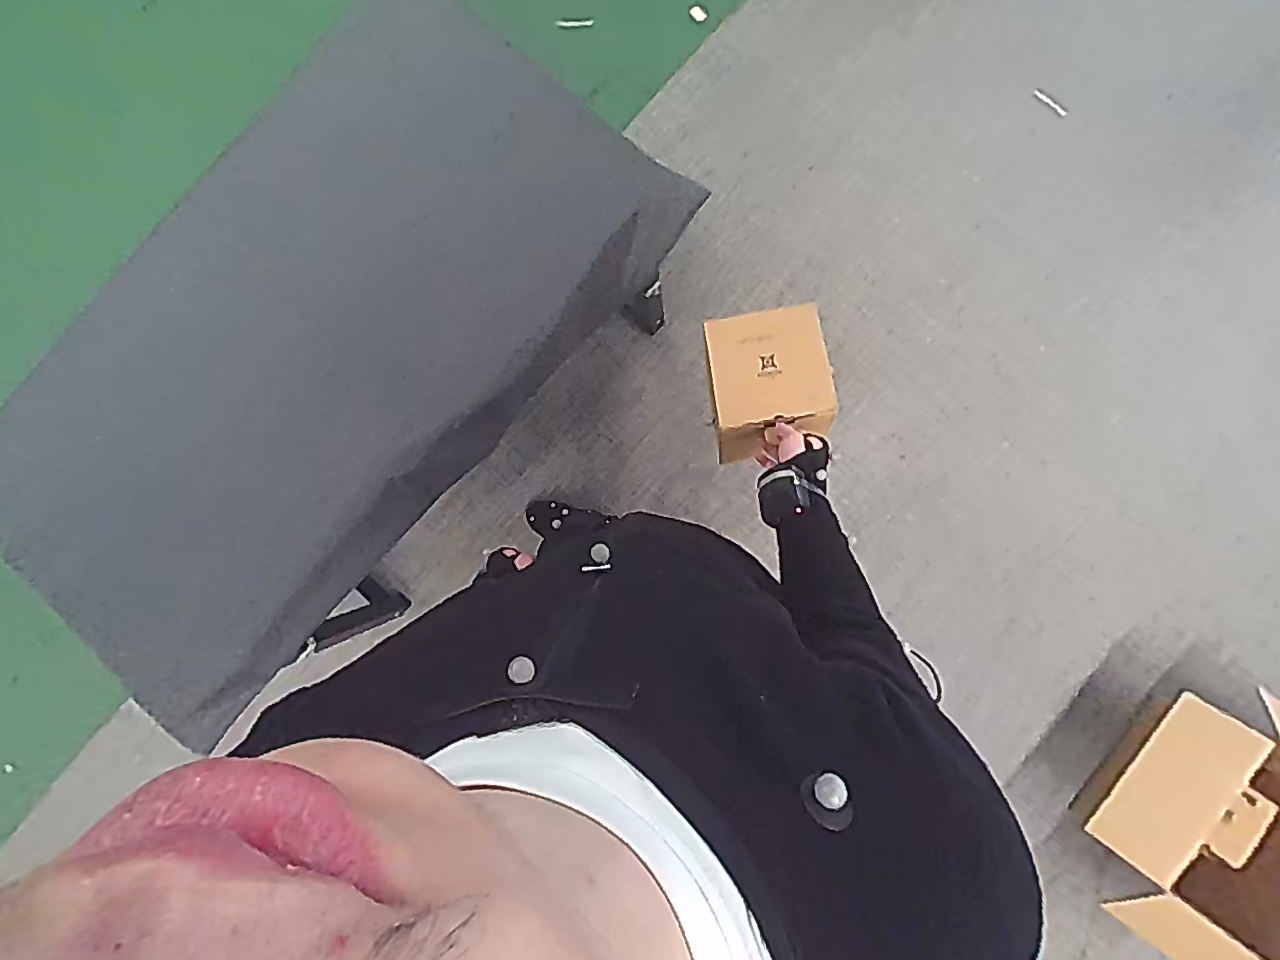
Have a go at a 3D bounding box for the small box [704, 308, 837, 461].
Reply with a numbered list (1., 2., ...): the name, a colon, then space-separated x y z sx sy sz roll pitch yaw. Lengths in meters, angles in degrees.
1. small box: 0.193 -0.137 0.847 0.168 0.176 0.179 -7 71 4
